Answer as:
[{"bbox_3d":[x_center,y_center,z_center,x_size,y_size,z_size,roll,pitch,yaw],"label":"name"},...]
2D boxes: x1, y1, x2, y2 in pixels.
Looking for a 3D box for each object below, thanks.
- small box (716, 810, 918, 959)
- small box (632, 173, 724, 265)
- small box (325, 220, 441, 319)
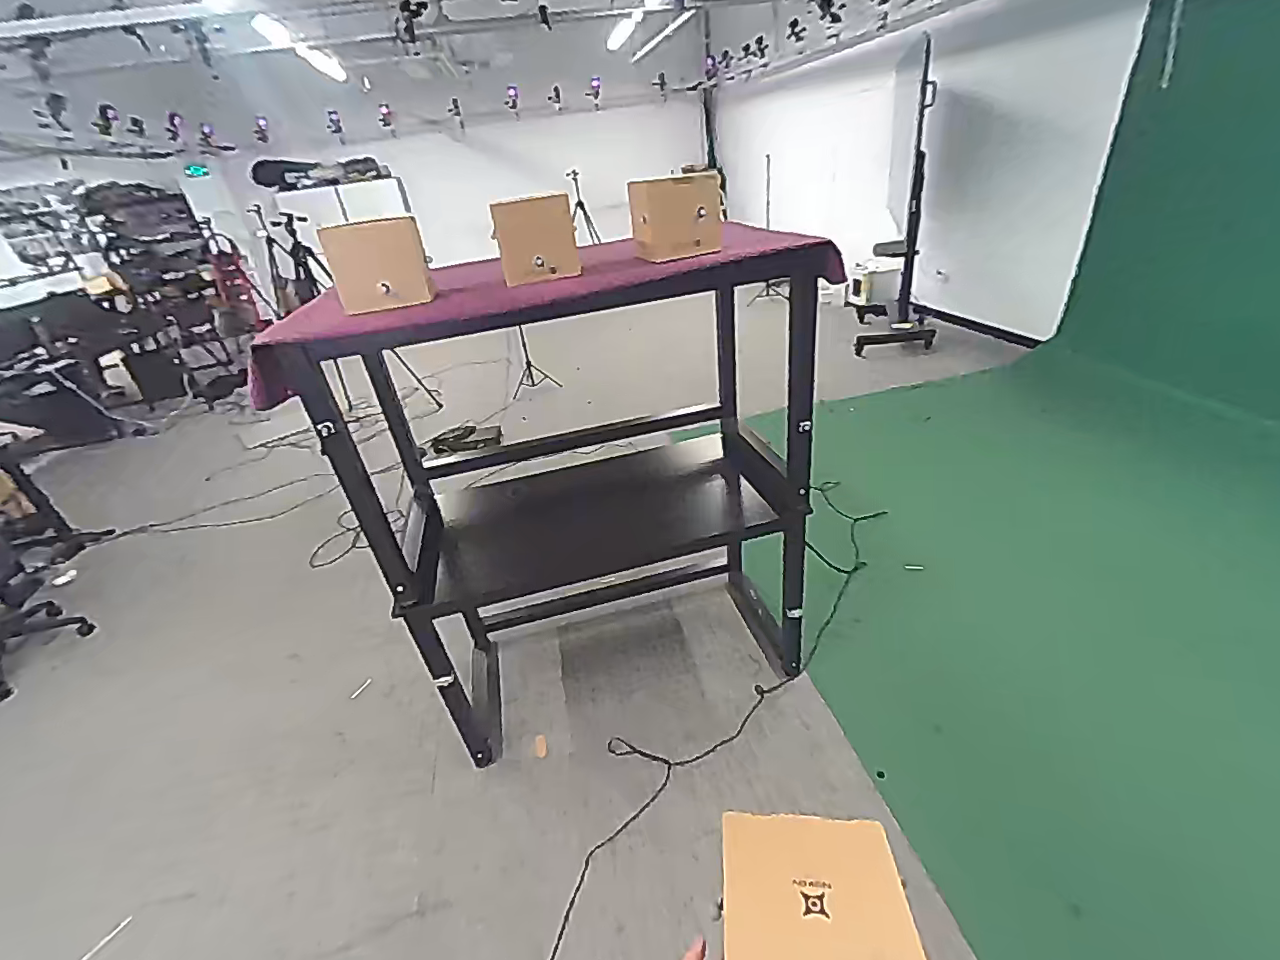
[{"bbox_3d":[0.160,0.457,0.515,0.168,0.176,0.179,-2,16,9],"label":"small box"},{"bbox_3d":[0.090,-0.608,1.267,0.168,0.176,0.179,-14,29,-9],"label":"small box"},{"bbox_3d":[-0.541,-0.458,1.170,0.179,0.176,0.168,-13,29,-10],"label":"small box"}]
